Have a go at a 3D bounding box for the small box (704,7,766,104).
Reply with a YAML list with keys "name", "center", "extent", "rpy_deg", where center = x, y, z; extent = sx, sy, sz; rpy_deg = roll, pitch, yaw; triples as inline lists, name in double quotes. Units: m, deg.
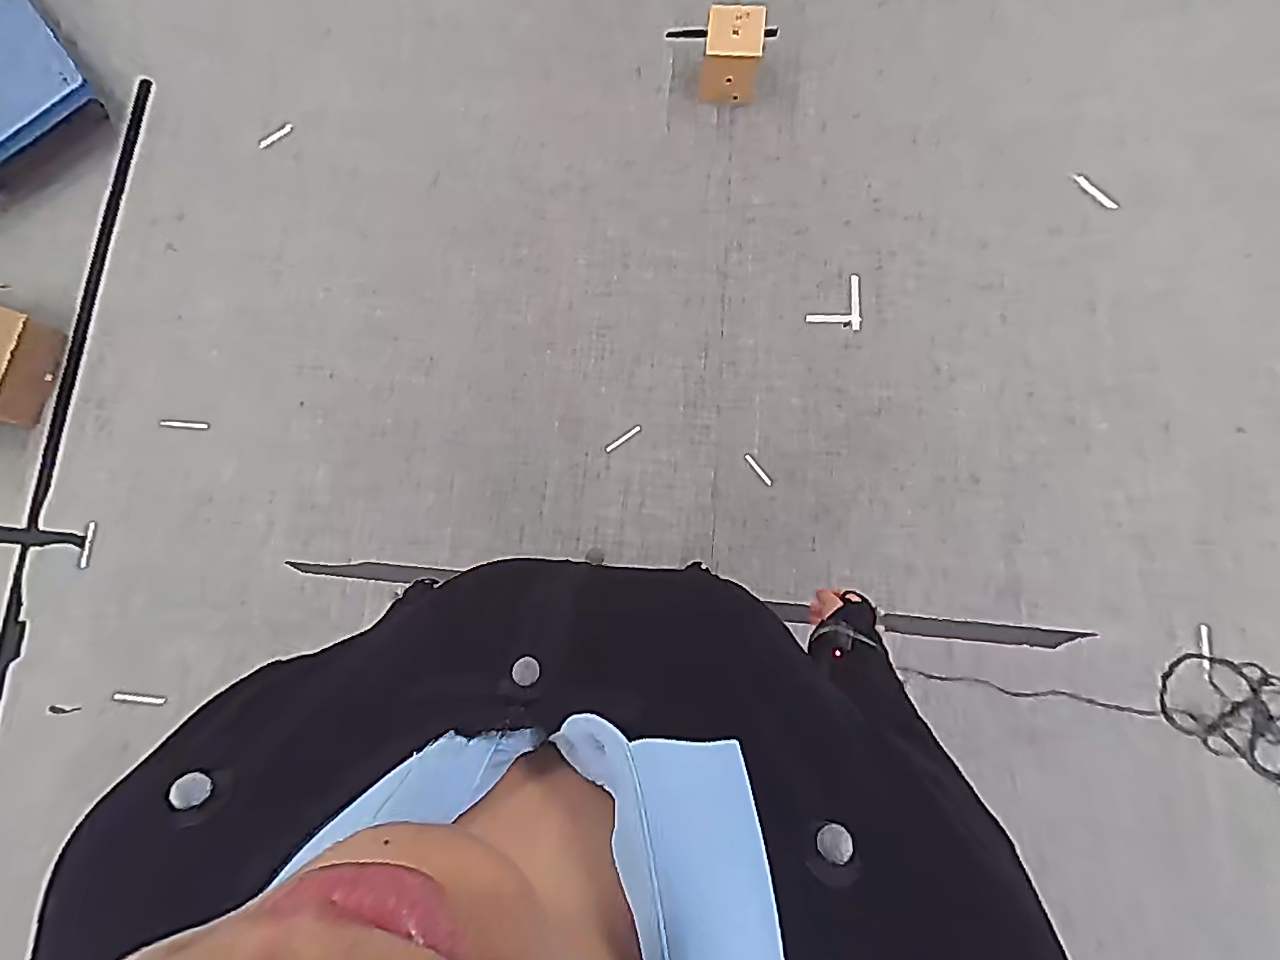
- name: "small box"
  center: [0.288, -1.304, 1.669]
  extent: [0.168, 0.176, 0.179]
  rpy_deg: [6, 81, 4]
